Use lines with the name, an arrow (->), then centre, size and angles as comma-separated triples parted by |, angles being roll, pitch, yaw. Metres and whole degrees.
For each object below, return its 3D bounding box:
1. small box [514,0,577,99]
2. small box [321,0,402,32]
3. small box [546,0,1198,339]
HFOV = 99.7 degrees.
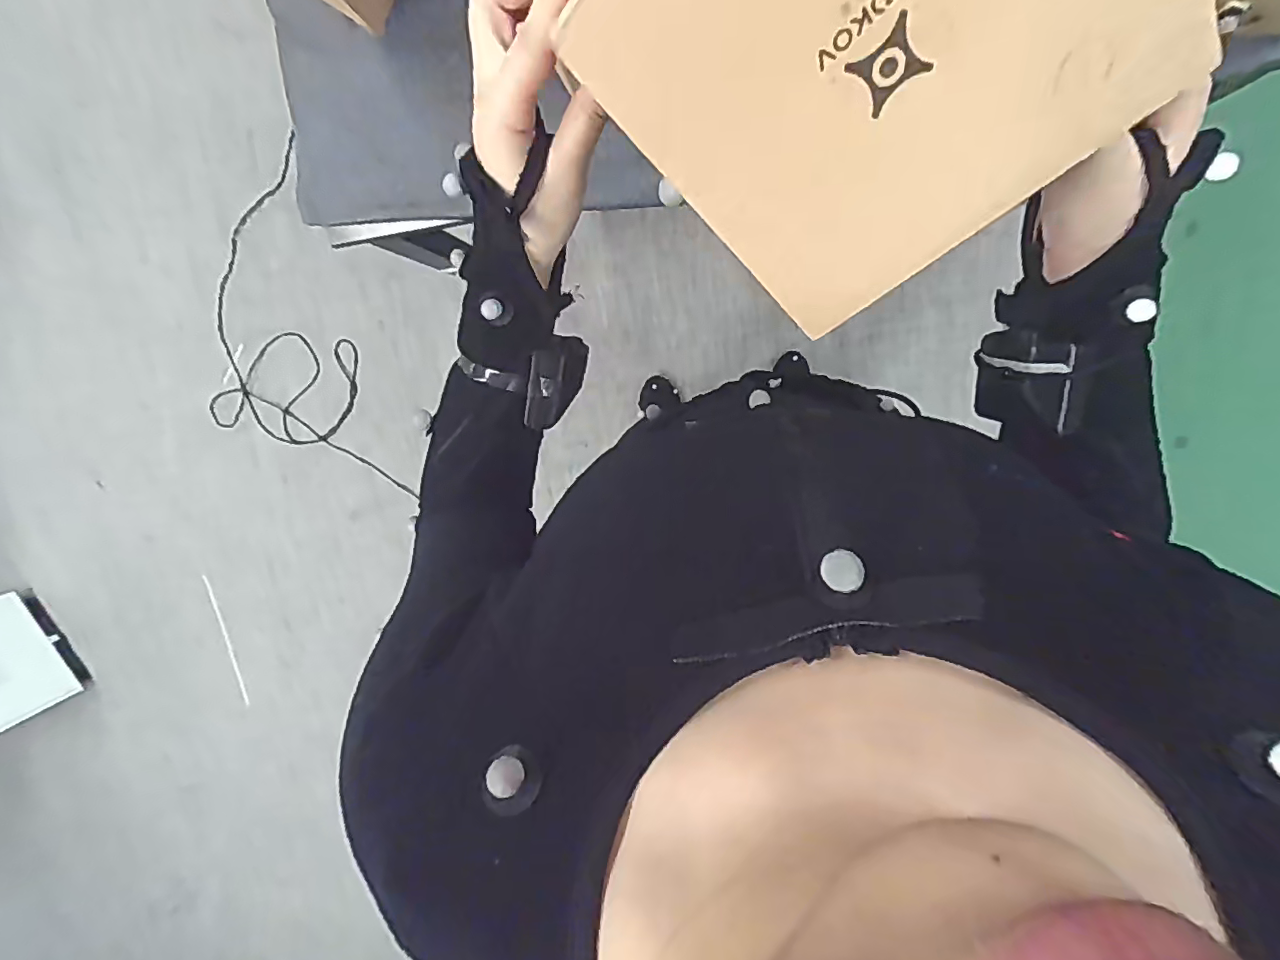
small box -> -0.057, -0.552, 0.577 | 0.168, 0.176, 0.179 | -32, 95, 11
small box -> -0.367, -0.659, 0.597 | 0.179, 0.176, 0.168 | 33, 103, 0
small box -> 0.085, -0.209, 0.245 | 0.179, 0.176, 0.168 | 33, 131, -31
